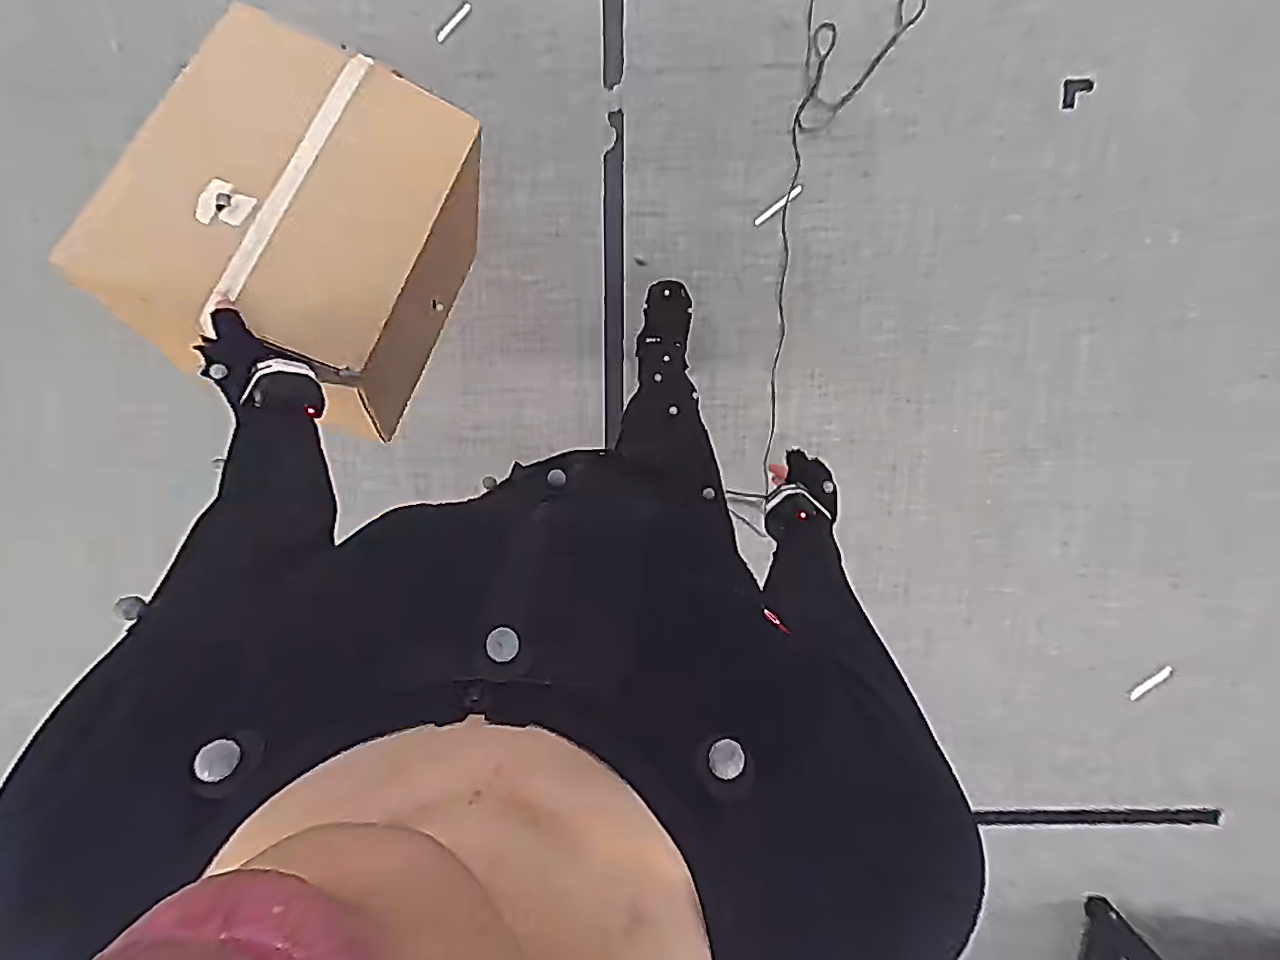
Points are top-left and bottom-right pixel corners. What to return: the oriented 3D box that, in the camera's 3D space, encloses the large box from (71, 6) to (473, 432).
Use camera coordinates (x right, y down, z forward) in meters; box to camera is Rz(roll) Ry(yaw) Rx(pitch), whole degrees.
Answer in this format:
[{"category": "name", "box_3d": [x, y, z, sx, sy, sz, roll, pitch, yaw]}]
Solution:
[{"category": "large box", "box_3d": [-0.465, -0.336, 0.800, 0.320, 0.320, 0.408, 20, 75, -13]}]
